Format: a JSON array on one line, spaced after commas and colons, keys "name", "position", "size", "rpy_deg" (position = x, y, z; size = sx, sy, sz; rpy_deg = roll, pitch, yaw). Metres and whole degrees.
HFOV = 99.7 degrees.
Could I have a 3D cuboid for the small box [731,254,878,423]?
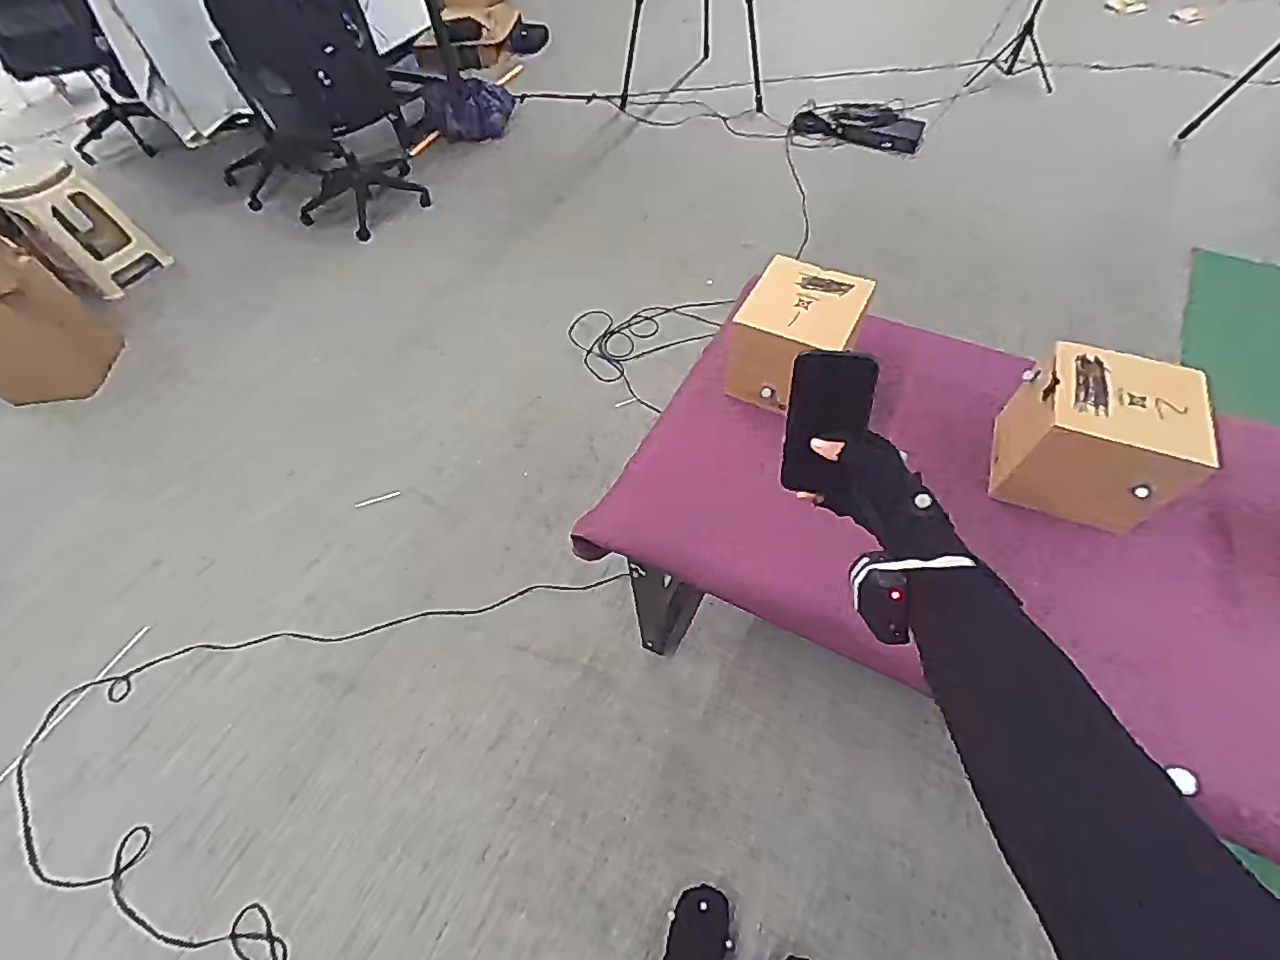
[{"name": "small box", "position": [0.257, -0.226, 0.880], "size": [0.168, 0.176, 0.179], "rpy_deg": [25, 63, 18]}]
